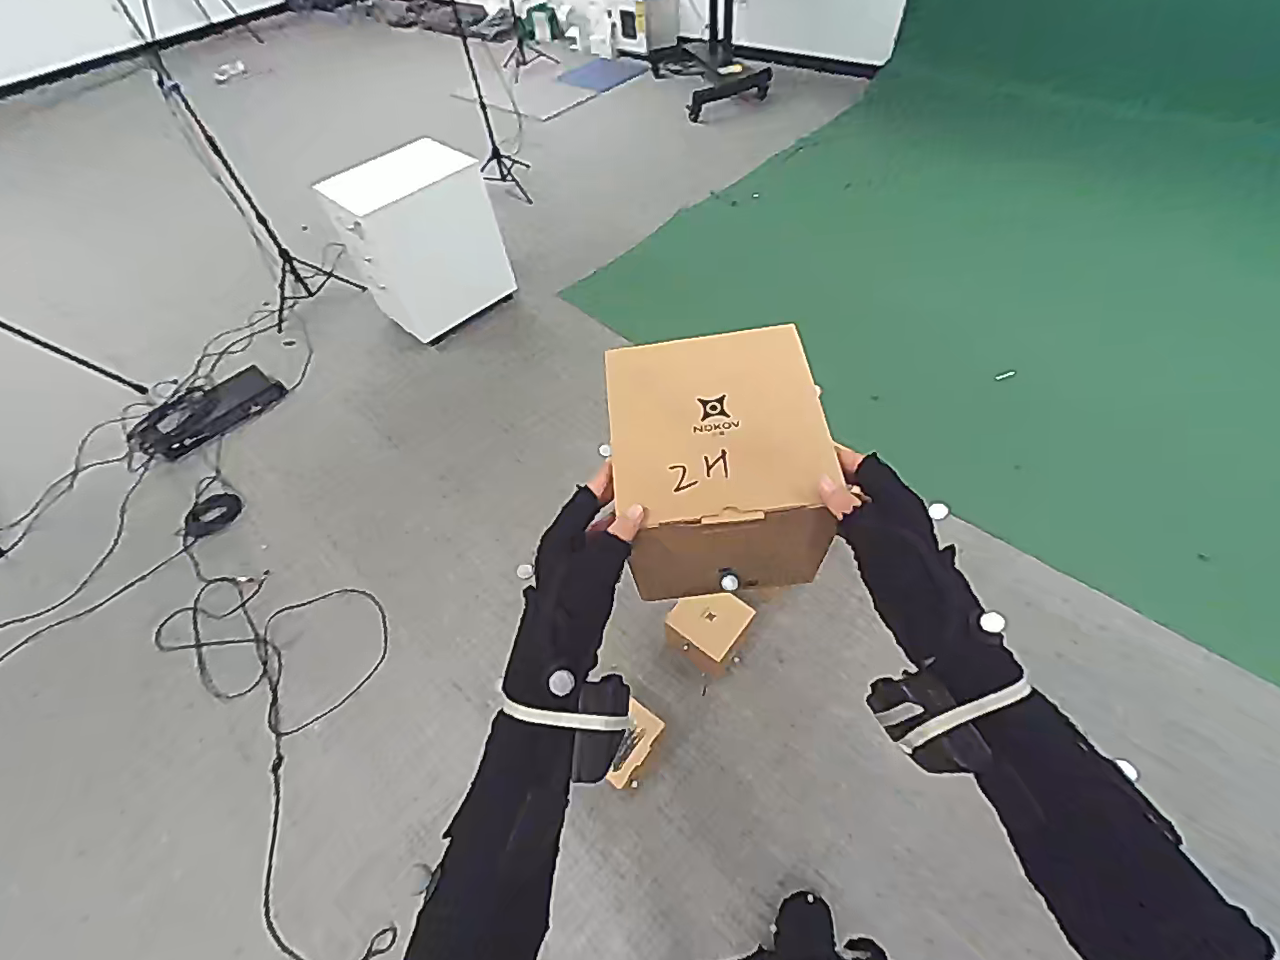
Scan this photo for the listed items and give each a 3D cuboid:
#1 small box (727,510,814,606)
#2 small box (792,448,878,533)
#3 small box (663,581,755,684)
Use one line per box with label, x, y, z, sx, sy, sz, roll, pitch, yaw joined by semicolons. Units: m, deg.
small box;0.363;0.225;1.542;0.168;0.176;0.179;-37;58;-21
small box;0.593;0.040;1.663;0.179;0.176;0.168;35;63;29
small box;0.179;0.406;1.420;0.179;0.176;0.168;32;63;25
